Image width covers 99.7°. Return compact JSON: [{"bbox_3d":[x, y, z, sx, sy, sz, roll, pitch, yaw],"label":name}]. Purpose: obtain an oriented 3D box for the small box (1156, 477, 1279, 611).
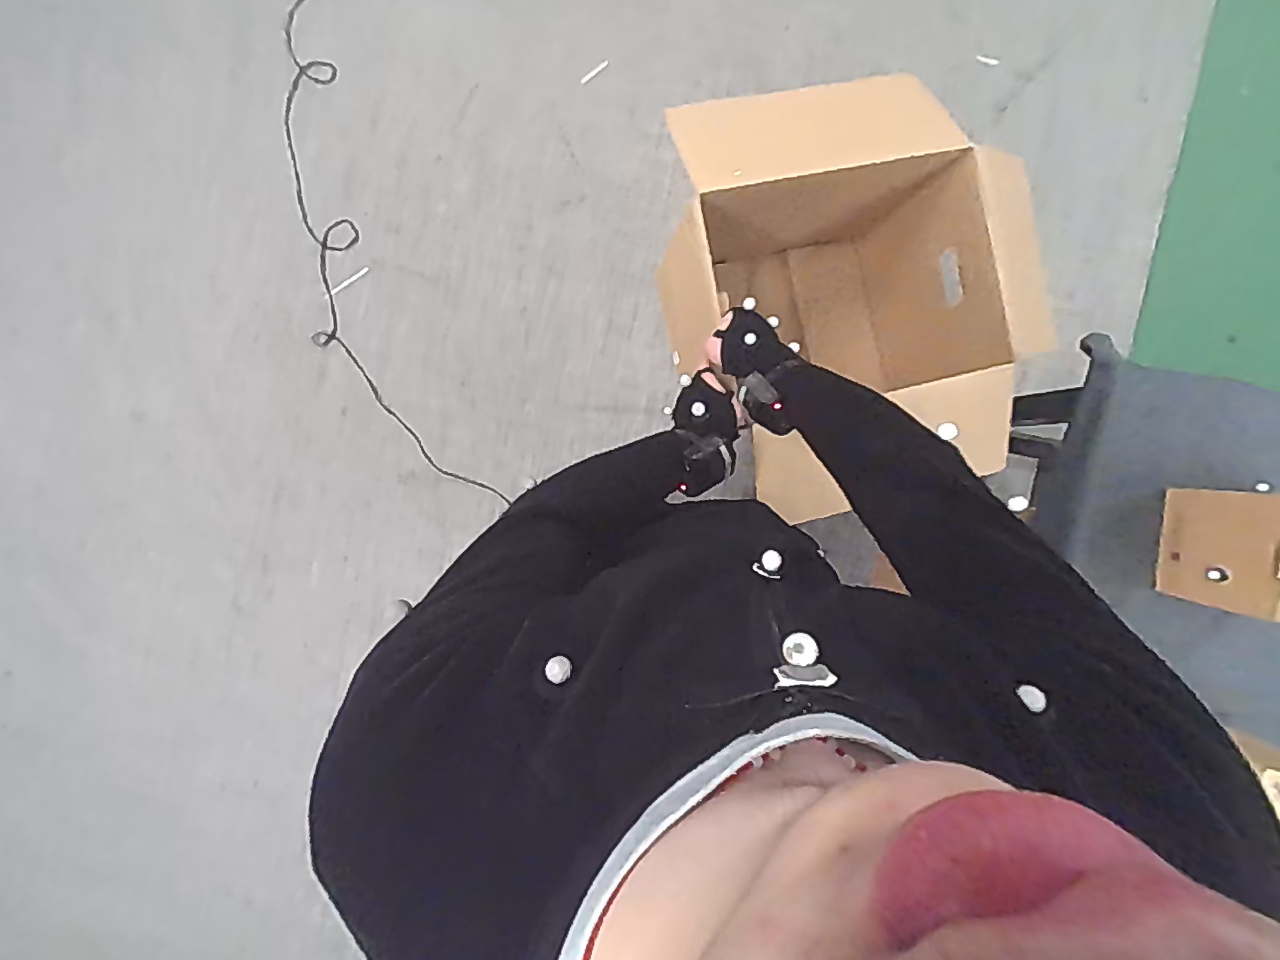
[{"bbox_3d":[0.901,0.087,0.770,0.179,0.176,0.168,3,96,-4],"label":"small box"}]
